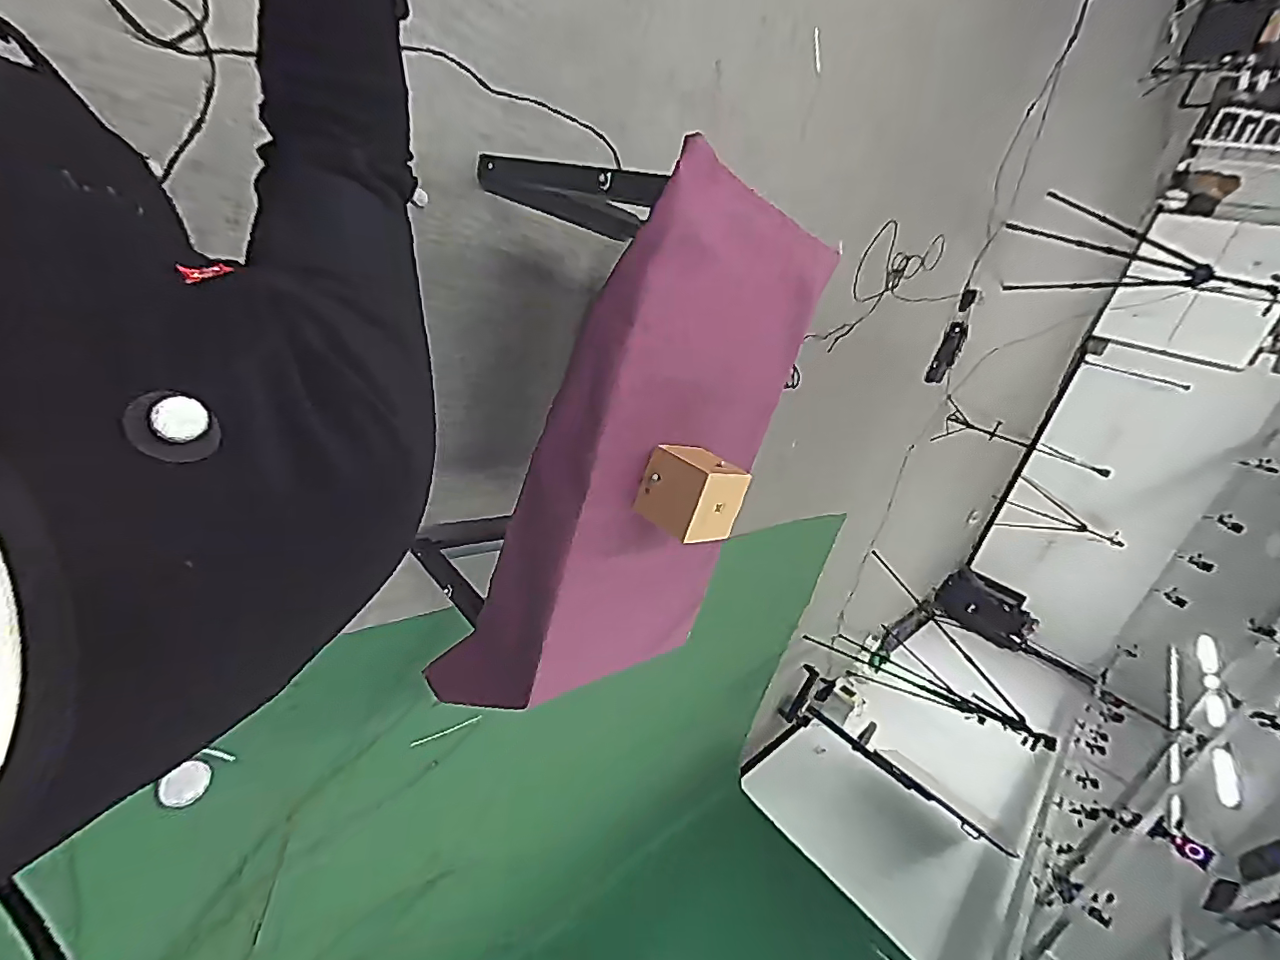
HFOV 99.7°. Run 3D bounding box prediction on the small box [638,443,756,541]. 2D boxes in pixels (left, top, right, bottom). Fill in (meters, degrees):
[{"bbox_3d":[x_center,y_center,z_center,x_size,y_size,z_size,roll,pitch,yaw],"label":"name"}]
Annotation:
[{"bbox_3d":[0.127,0.023,1.235,0.179,0.176,0.168,2,113,-47],"label":"small box"}]
